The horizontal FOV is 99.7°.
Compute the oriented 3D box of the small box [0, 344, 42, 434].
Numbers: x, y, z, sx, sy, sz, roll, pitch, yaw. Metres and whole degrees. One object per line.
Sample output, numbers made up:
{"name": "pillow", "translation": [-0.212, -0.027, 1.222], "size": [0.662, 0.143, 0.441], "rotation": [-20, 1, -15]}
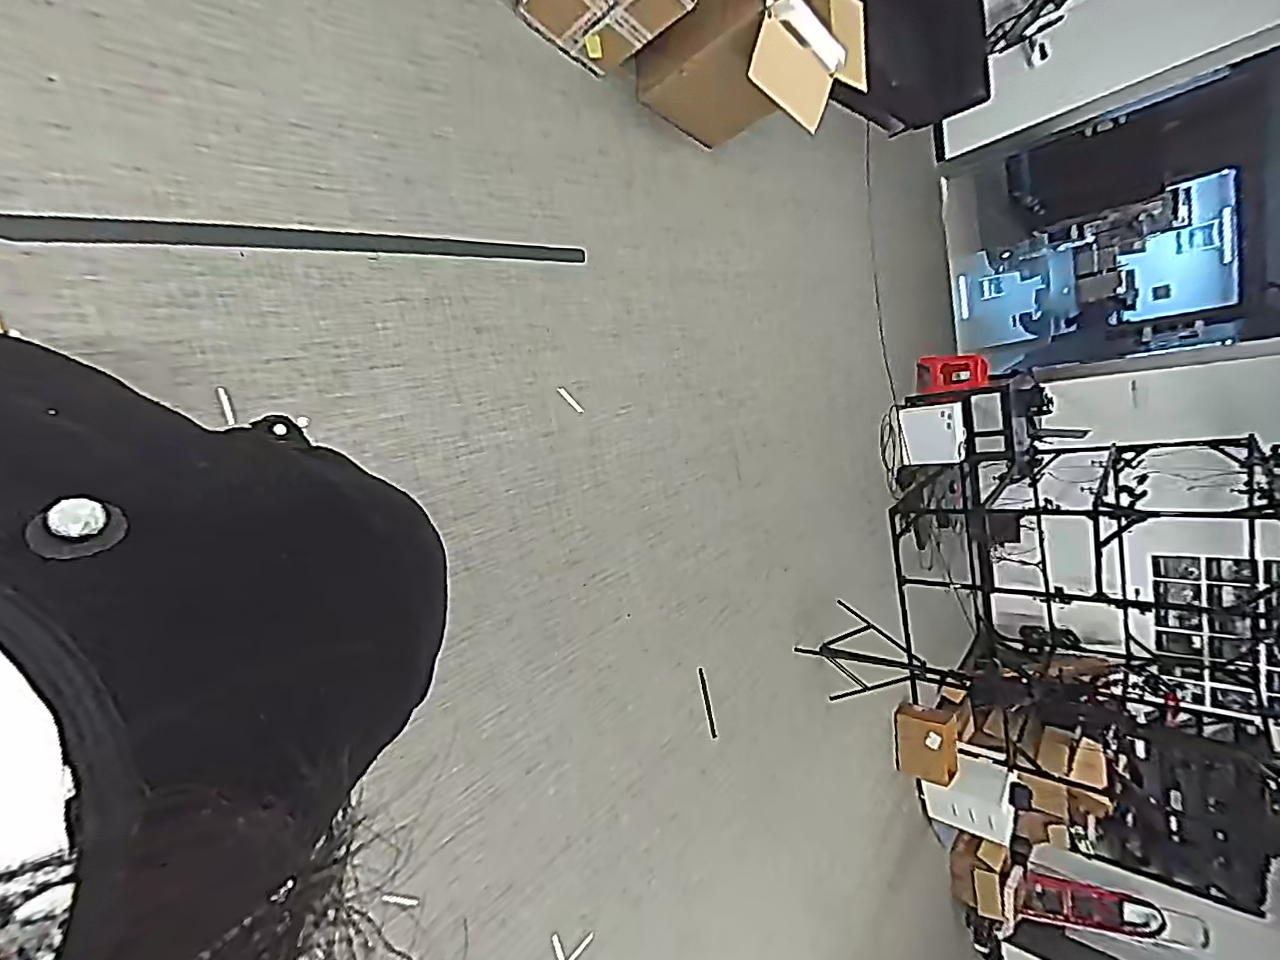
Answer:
{"name": "small box", "translation": [-1.164, -0.163, 0.916], "size": [0.179, 0.176, 0.168], "rotation": [-20, 101, -43]}
